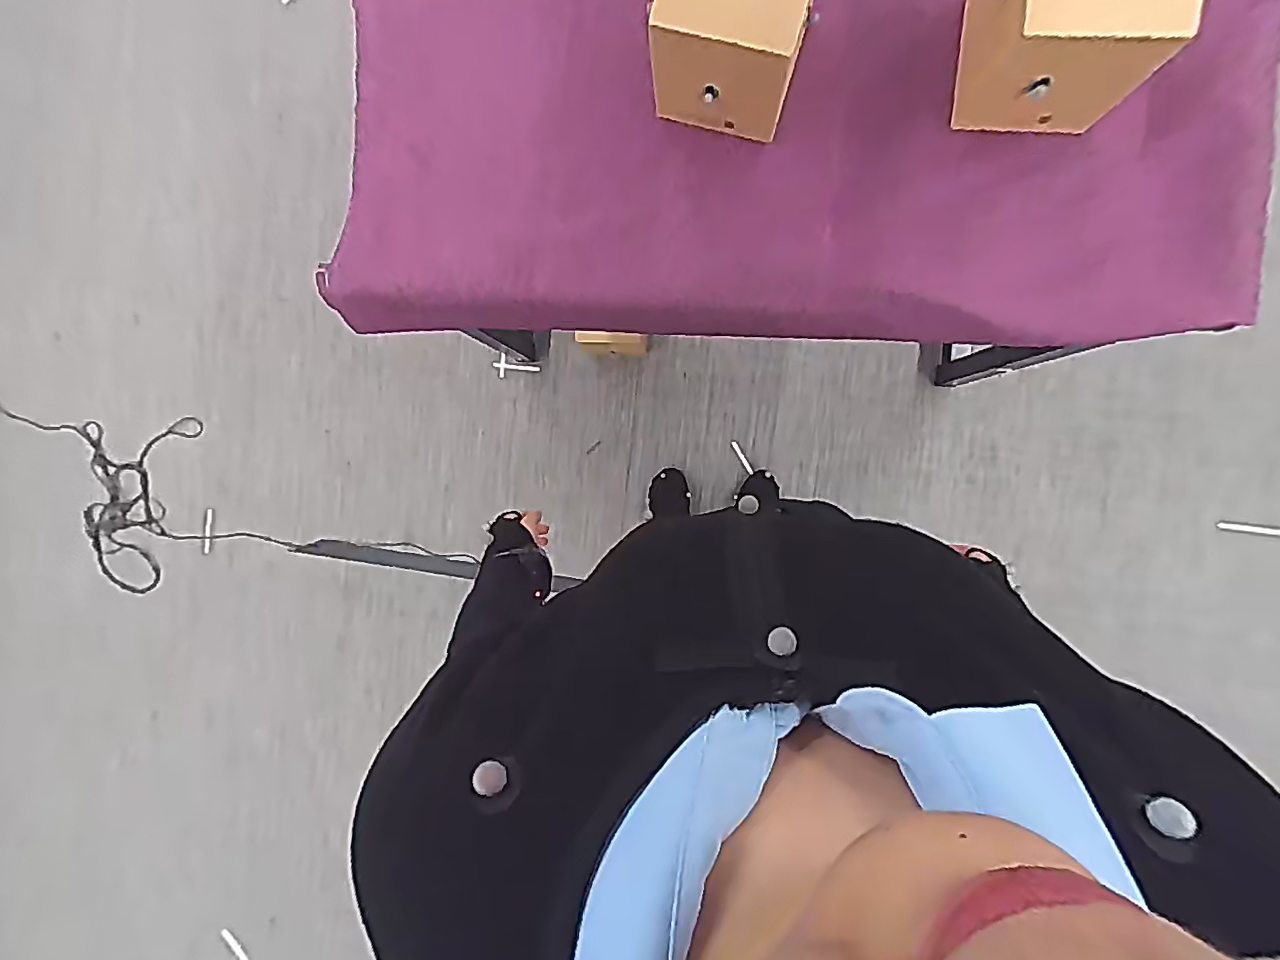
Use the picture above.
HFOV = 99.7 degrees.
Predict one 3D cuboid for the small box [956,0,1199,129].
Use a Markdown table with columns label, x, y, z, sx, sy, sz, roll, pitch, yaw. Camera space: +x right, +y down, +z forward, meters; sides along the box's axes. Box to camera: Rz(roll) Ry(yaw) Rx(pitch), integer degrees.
| label | x | y | z | sx | sy | sz | roll | pitch | yaw |
| --- | --- | --- | --- | --- | --- | --- | --- | --- | --- |
| small box | 0.496 | -0.544 | 0.630 | 0.168 | 0.176 | 0.179 | 6 | 92 | 6 |

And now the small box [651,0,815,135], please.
| label | x | y | z | sx | sy | sz | roll | pitch | yaw |
| --- | --- | --- | --- | --- | --- | --- | --- | --- | --- |
| small box | 0.121 | -0.570 | 0.665 | 0.168 | 0.176 | 0.179 | 17 | 94 | 4 |
